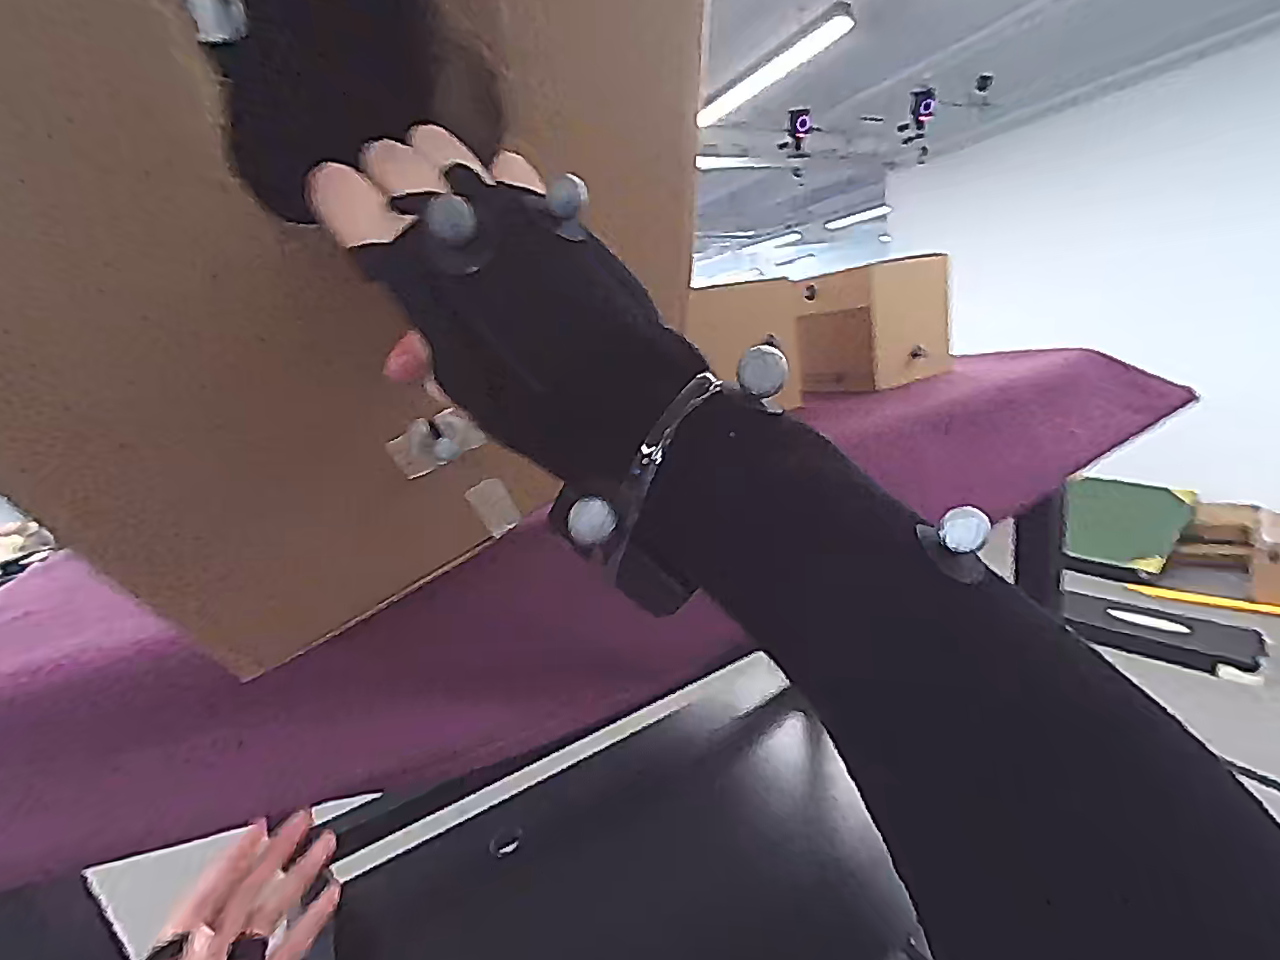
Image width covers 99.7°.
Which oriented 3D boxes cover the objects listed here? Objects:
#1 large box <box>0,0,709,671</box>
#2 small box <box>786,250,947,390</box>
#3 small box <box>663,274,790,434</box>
[{"bbox_3d":[-0.206,-0.178,0.326,0.320,0.320,0.408,-33,54,-25],"label":"large box"},{"bbox_3d":[0.328,-0.233,0.806,0.179,0.176,0.168,-17,16,-28],"label":"small box"},{"bbox_3d":[0.083,-0.167,0.720,0.179,0.176,0.168,-17,16,-25],"label":"small box"}]
